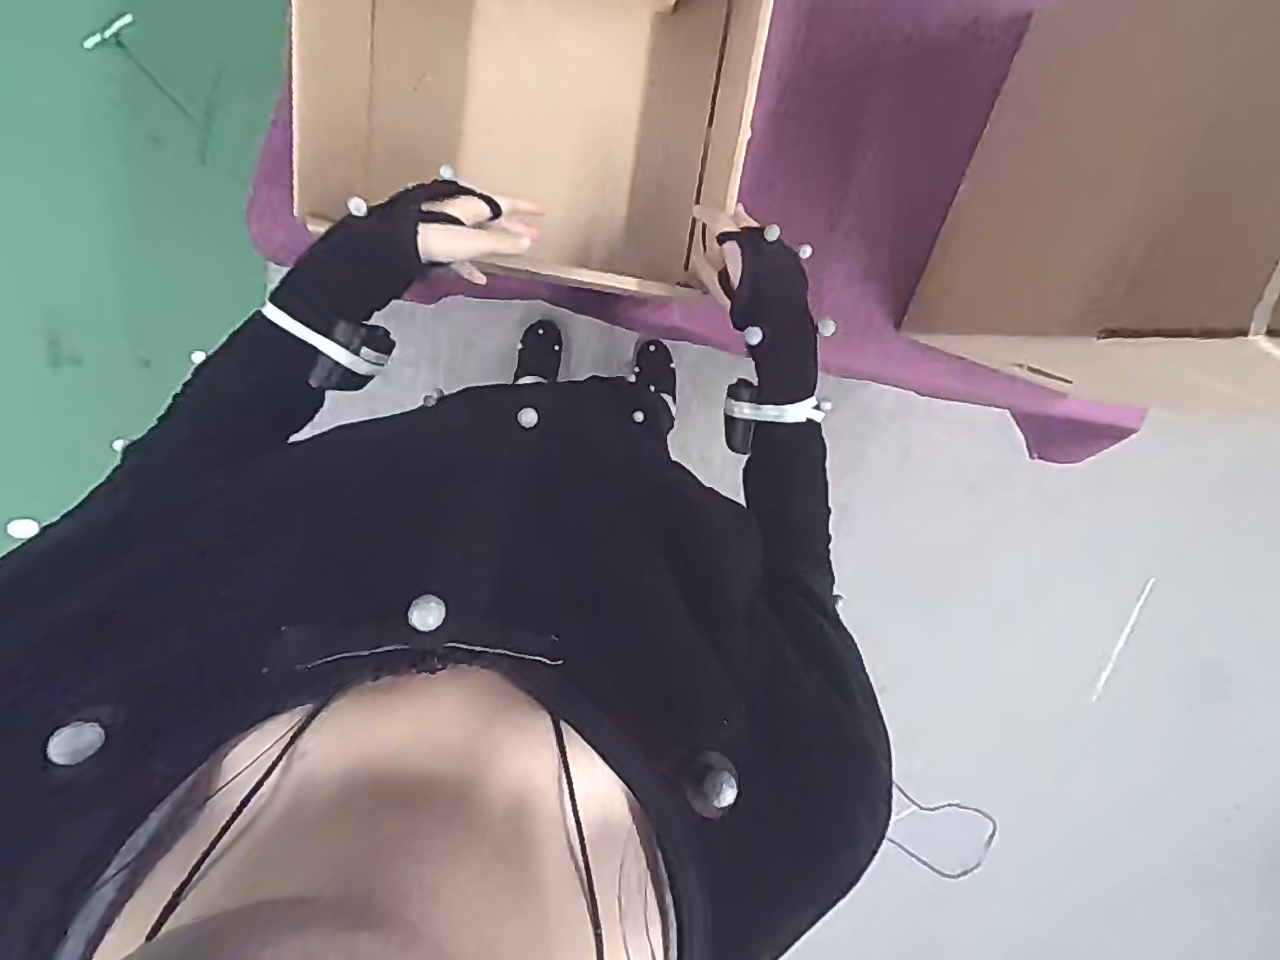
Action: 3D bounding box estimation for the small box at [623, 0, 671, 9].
[{"bbox_3d":[-0.031,-0.569,0.476,0.168,0.176,0.179,5,106,-6],"label":"small box"}]
